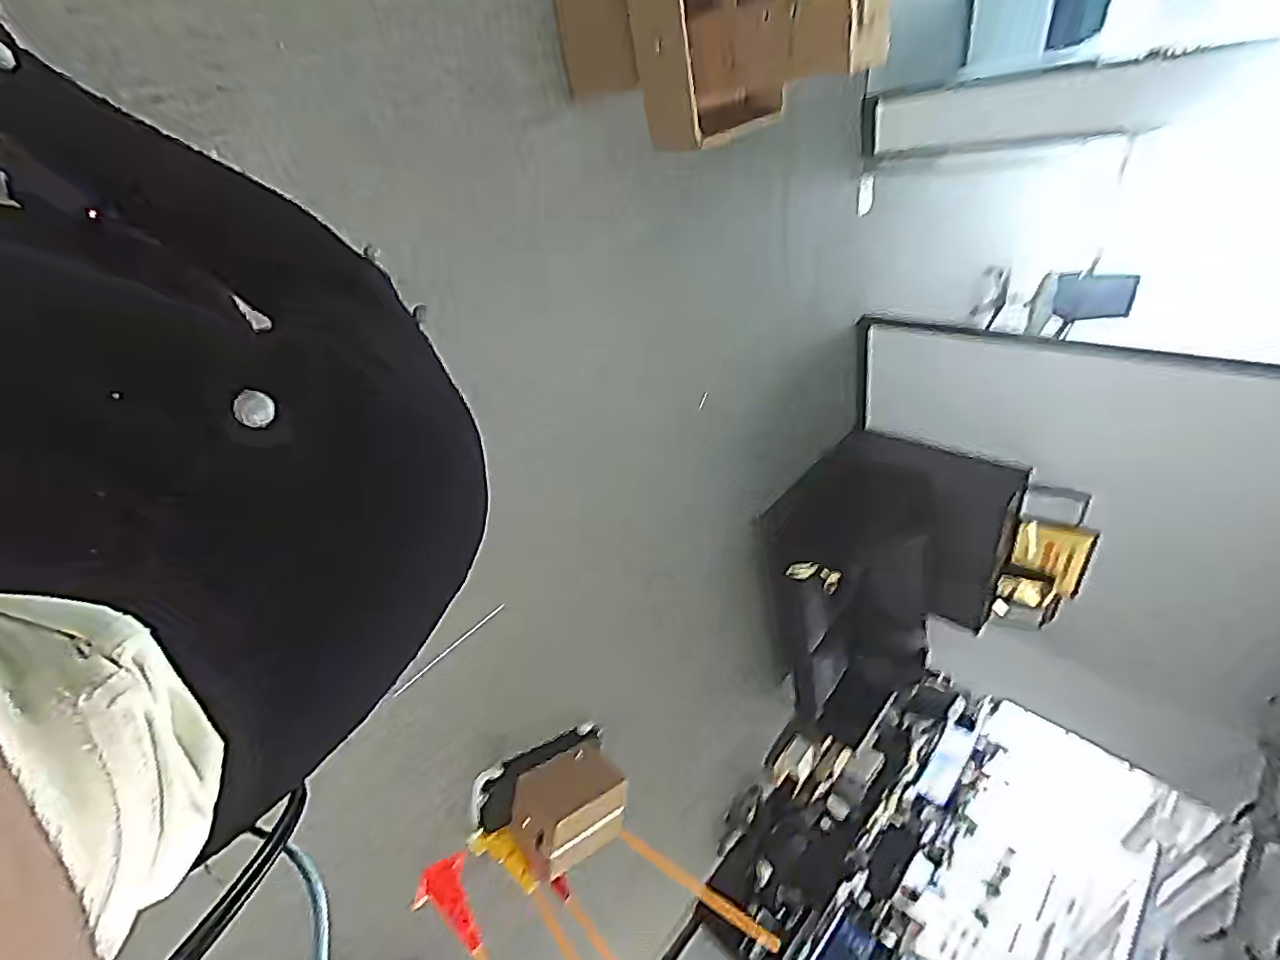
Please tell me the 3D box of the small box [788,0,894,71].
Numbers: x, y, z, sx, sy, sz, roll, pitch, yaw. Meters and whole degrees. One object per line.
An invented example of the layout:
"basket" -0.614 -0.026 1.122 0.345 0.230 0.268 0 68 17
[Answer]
"small box" 0.444 -1.038 1.205 0.179 0.176 0.168 -38 133 -28
